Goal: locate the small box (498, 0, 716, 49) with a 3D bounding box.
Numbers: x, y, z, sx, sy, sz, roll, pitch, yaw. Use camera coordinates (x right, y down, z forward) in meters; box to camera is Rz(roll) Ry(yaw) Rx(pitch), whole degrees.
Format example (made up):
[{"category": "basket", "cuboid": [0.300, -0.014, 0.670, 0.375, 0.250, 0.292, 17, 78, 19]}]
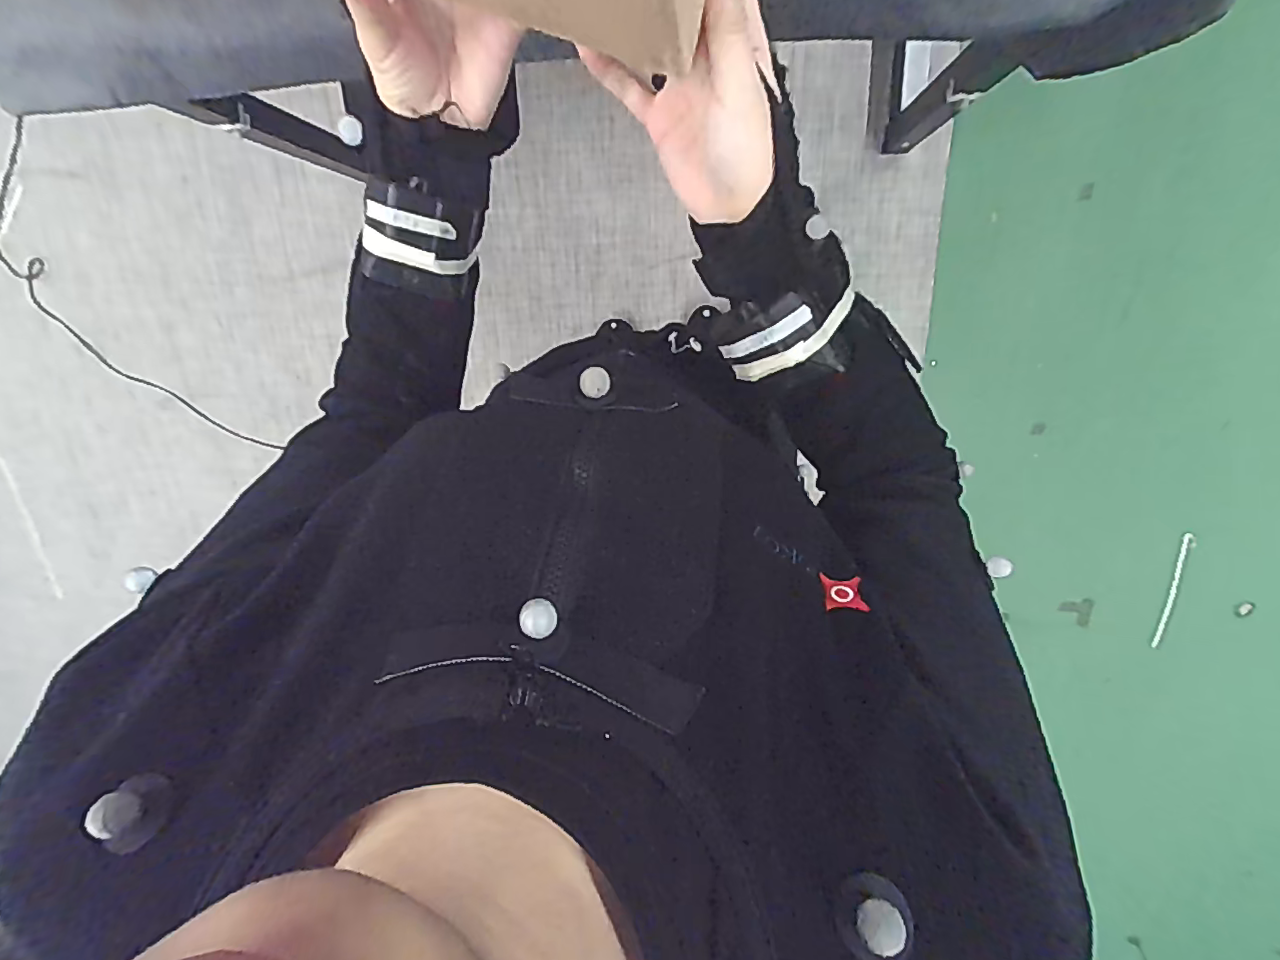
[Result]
[{"category": "small box", "cuboid": [-0.037, -0.256, 0.148, 0.179, 0.176, 0.168, 19, 116, 0]}]
